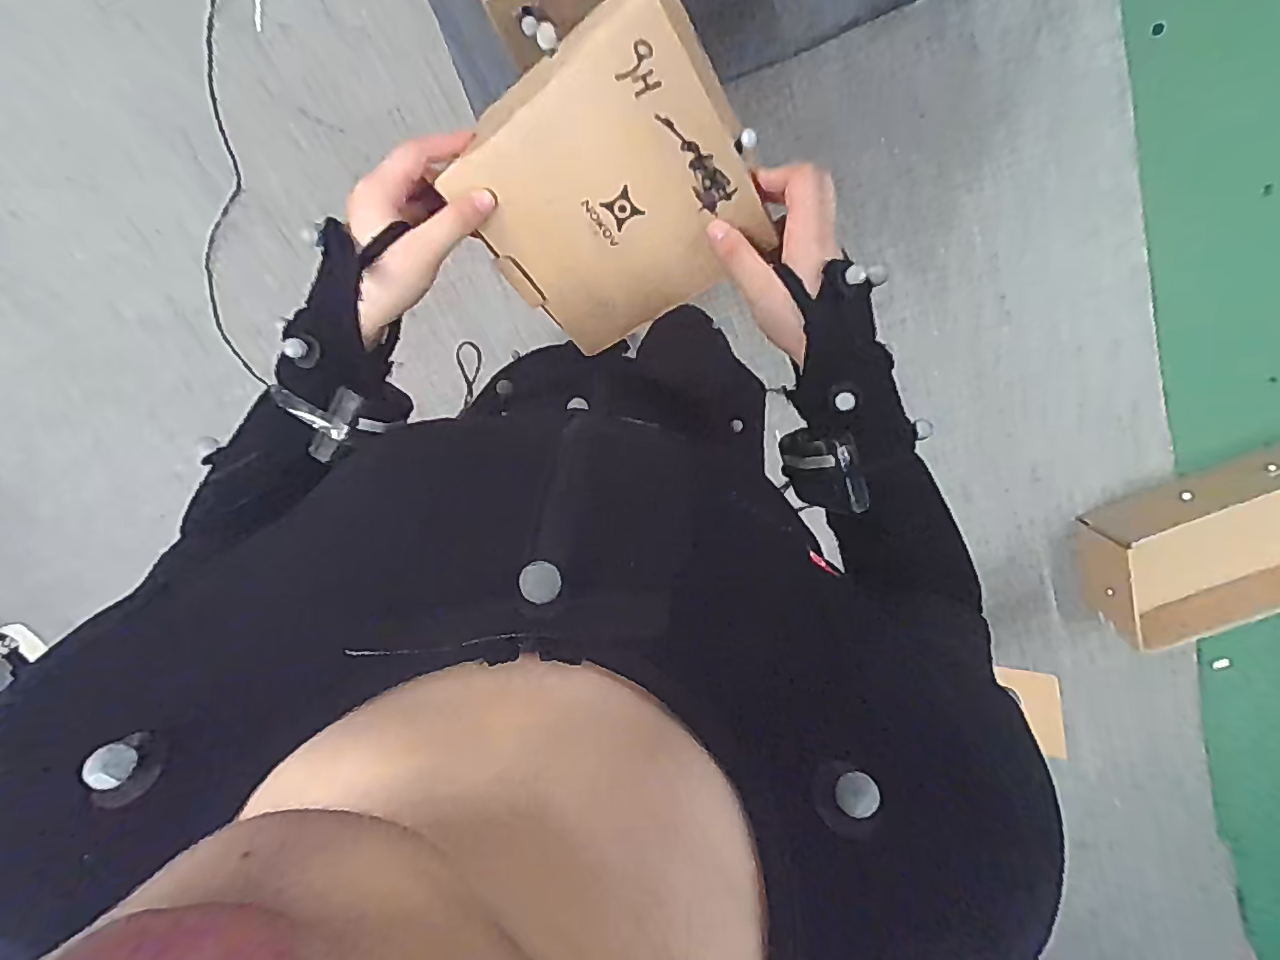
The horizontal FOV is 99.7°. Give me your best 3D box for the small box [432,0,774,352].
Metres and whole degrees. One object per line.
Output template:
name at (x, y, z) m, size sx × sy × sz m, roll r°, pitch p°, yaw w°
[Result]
small box at (-0.017, -0.239, 0.414) m, size 0.179 × 0.176 × 0.168 m, roll -23°, pitch 132°, yaw 27°
